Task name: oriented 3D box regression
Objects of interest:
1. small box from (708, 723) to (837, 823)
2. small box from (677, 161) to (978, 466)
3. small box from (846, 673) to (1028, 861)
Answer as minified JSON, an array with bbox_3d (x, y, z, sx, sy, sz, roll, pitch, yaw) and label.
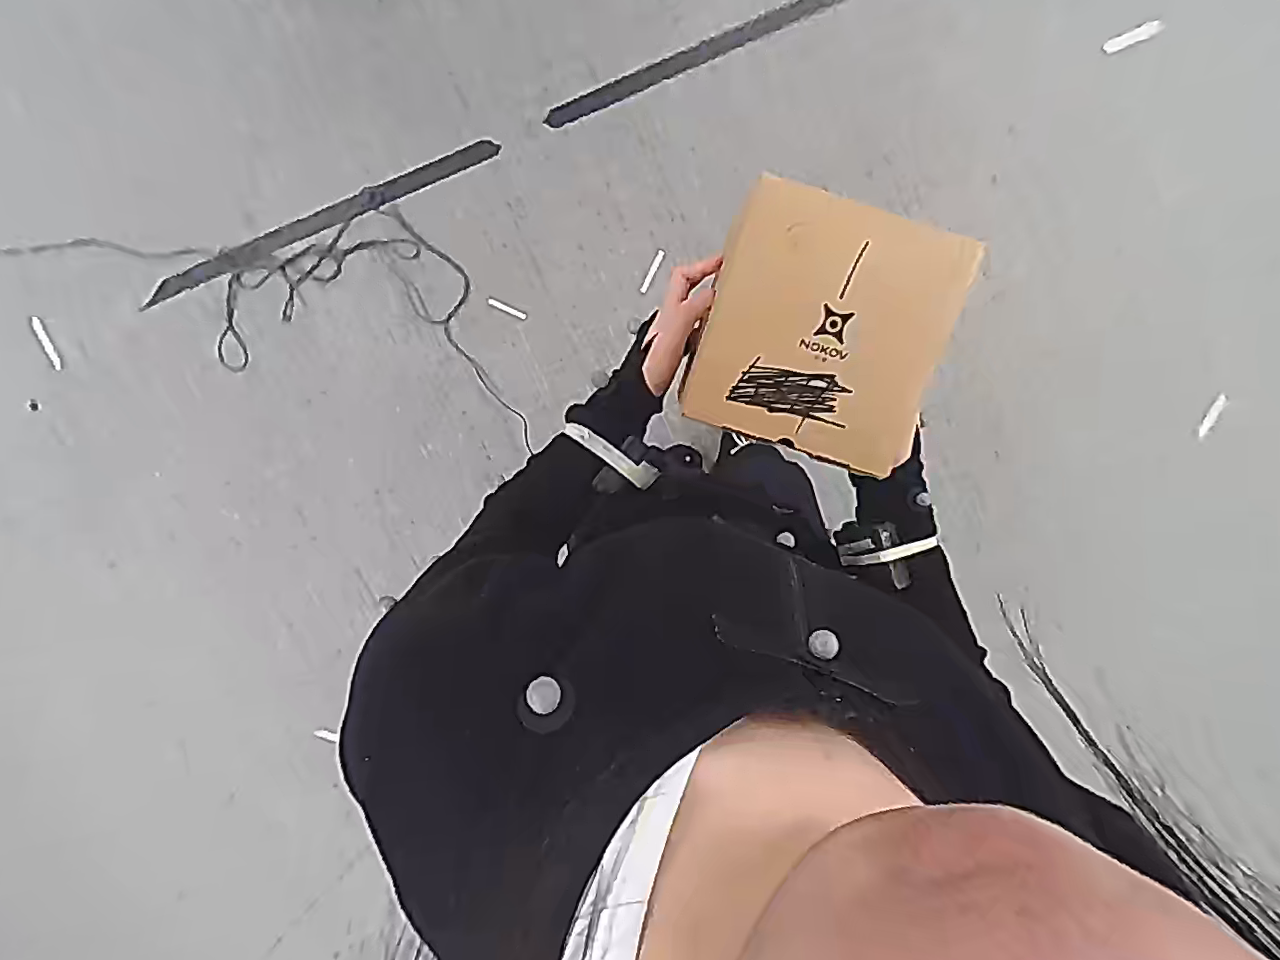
[{"bbox_3d":[0.219,0.522,0.871,0.168,0.176,0.179,-22,95,2],"label":"small box"},{"bbox_3d":[0.133,-0.132,0.463,0.168,0.176,0.179,16,104,-2],"label":"small box"},{"bbox_3d":[0.462,0.447,0.867,0.168,0.176,0.179,-24,96,2],"label":"small box"}]
